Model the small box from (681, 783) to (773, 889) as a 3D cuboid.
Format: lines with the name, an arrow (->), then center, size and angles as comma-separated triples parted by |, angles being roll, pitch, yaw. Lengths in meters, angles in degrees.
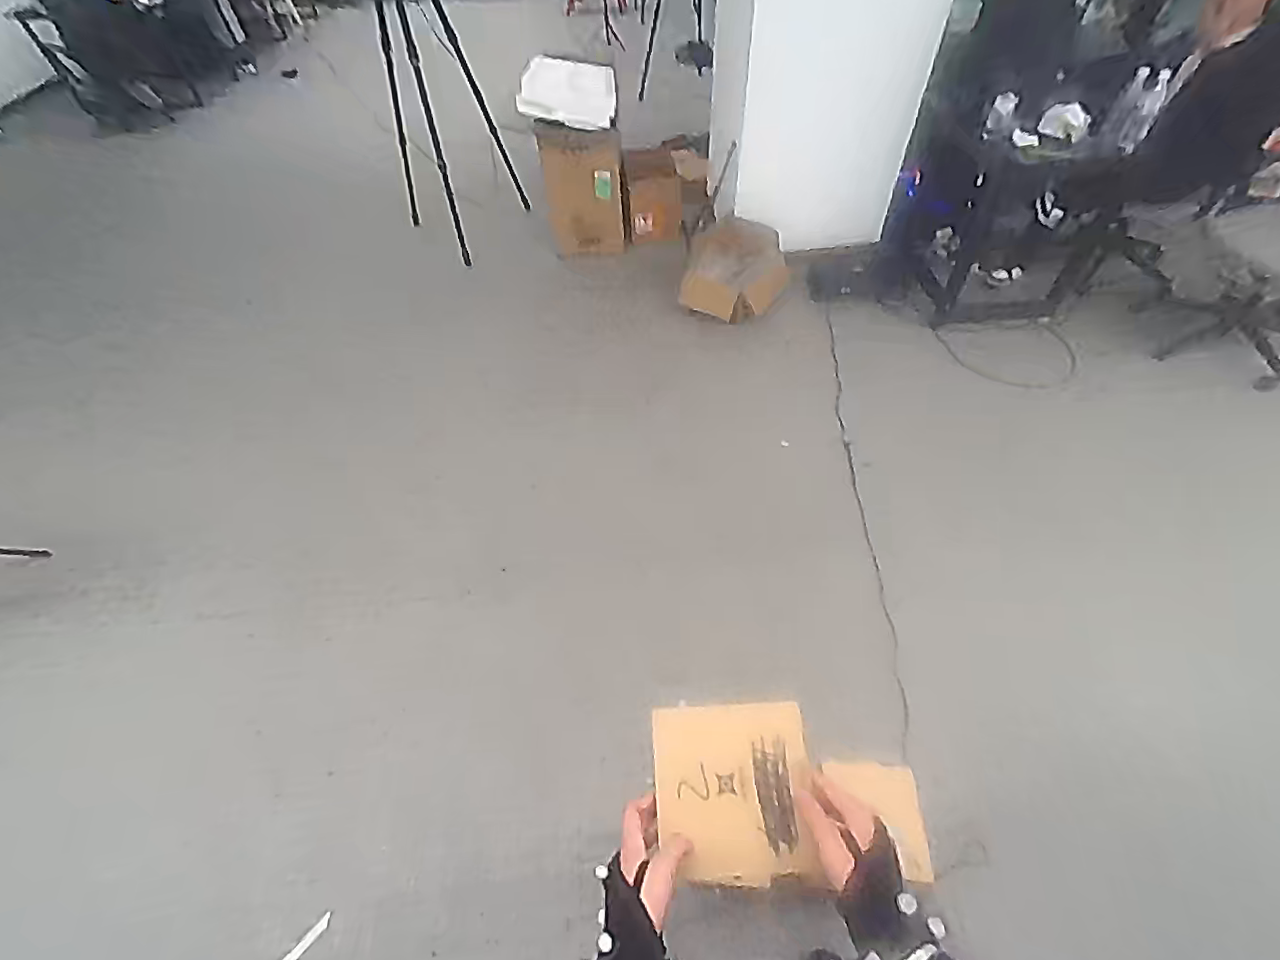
small box -> 0.178, 0.755, 1.143 | 0.179, 0.176, 0.168 | 2, 51, 6

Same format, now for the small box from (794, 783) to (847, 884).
small box -> 0.432, 0.745, 1.140 | 0.179, 0.176, 0.168 | -4, 51, 2

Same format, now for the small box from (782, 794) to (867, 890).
small box -> 0.440, 0.845, 1.266 | 0.168, 0.176, 0.179 | -5, 51, 1

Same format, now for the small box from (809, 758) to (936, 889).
small box -> 0.420, 0.643, 1.011 | 0.168, 0.176, 0.179 | 2, 50, 6
